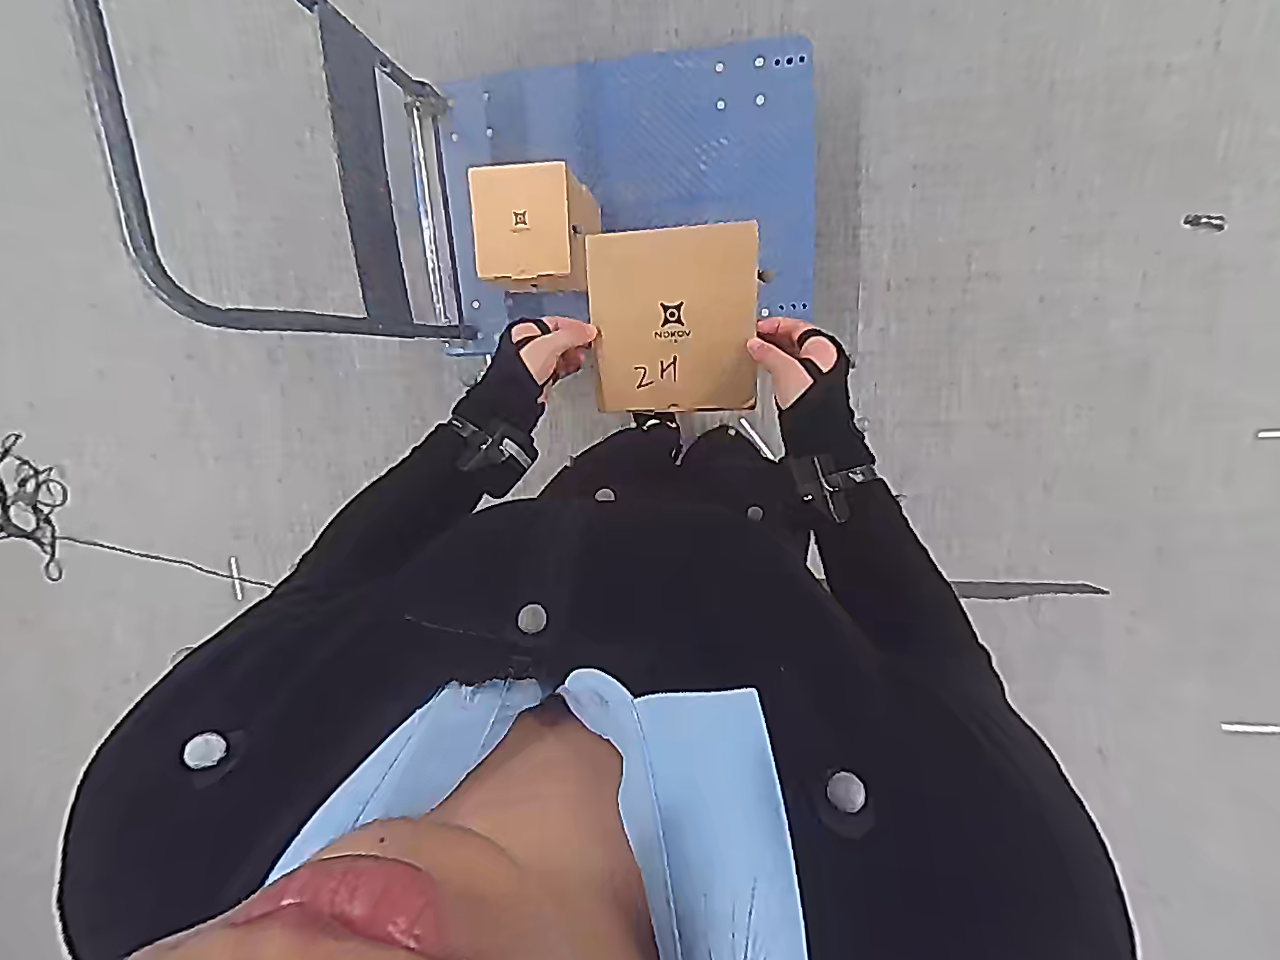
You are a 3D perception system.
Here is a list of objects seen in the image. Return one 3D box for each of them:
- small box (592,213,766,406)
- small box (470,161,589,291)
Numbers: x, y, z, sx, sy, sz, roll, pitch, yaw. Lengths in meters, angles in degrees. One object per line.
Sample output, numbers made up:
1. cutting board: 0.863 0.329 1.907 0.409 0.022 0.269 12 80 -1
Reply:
1. small box: 0.050 -0.180 0.598 0.168 0.176 0.179 1 106 12
2. small box: -0.188 -0.443 0.966 0.168 0.176 0.179 -1 103 6
